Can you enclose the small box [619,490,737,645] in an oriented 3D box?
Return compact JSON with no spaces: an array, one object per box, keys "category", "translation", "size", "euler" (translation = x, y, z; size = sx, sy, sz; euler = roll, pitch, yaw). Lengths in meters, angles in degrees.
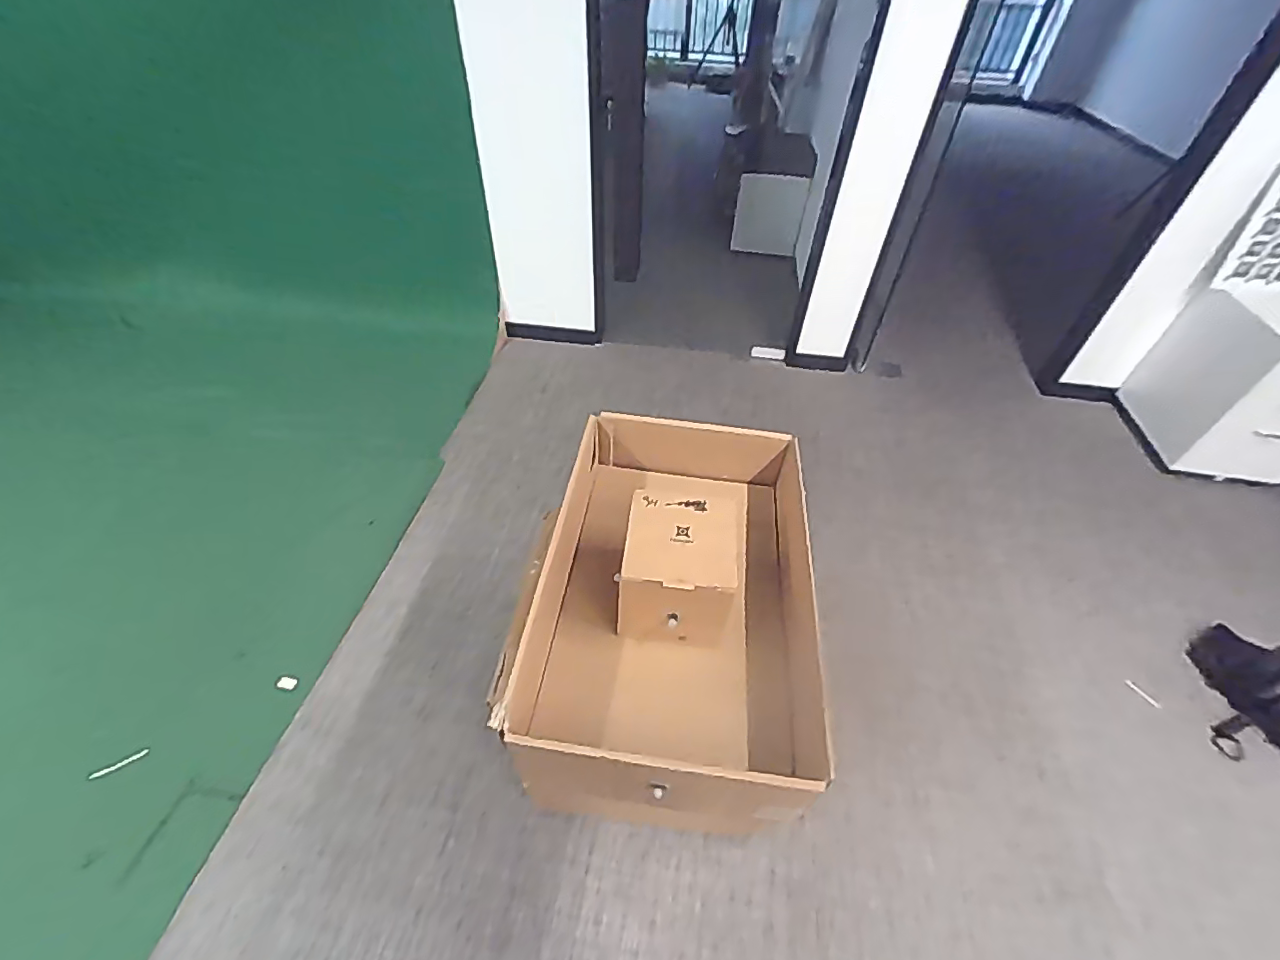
[{"category":"small box","translation":[0.060,0.142,0.864],"size":[0.168,0.176,0.179],"euler":[7,46,3]}]
